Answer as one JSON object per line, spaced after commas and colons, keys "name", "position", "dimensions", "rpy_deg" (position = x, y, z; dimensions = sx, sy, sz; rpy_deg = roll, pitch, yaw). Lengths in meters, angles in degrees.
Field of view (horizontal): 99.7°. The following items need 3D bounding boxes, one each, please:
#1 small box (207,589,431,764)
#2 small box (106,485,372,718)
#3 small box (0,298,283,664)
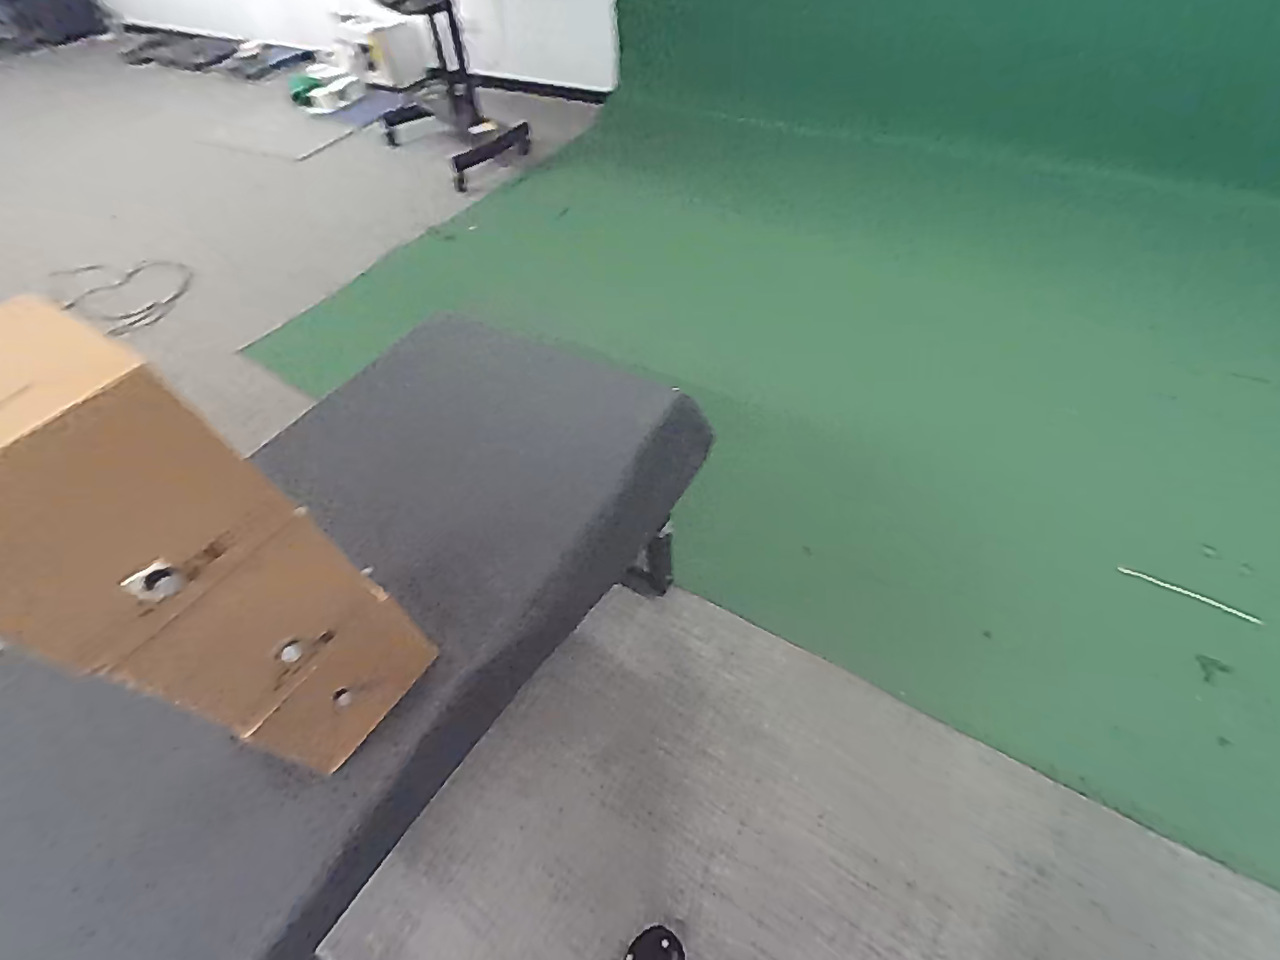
{"name": "small box", "position": [-0.388, 0.204, 0.643], "dimensions": [0.168, 0.176, 0.179], "rpy_deg": [25, 59, 23]}
{"name": "small box", "position": [-0.406, 0.098, 0.520], "dimensions": [0.179, 0.176, 0.168], "rpy_deg": [22, 57, 23]}
{"name": "small box", "position": [-0.416, 0.004, 0.388], "dimensions": [0.179, 0.176, 0.168], "rpy_deg": [24, 59, 21]}
